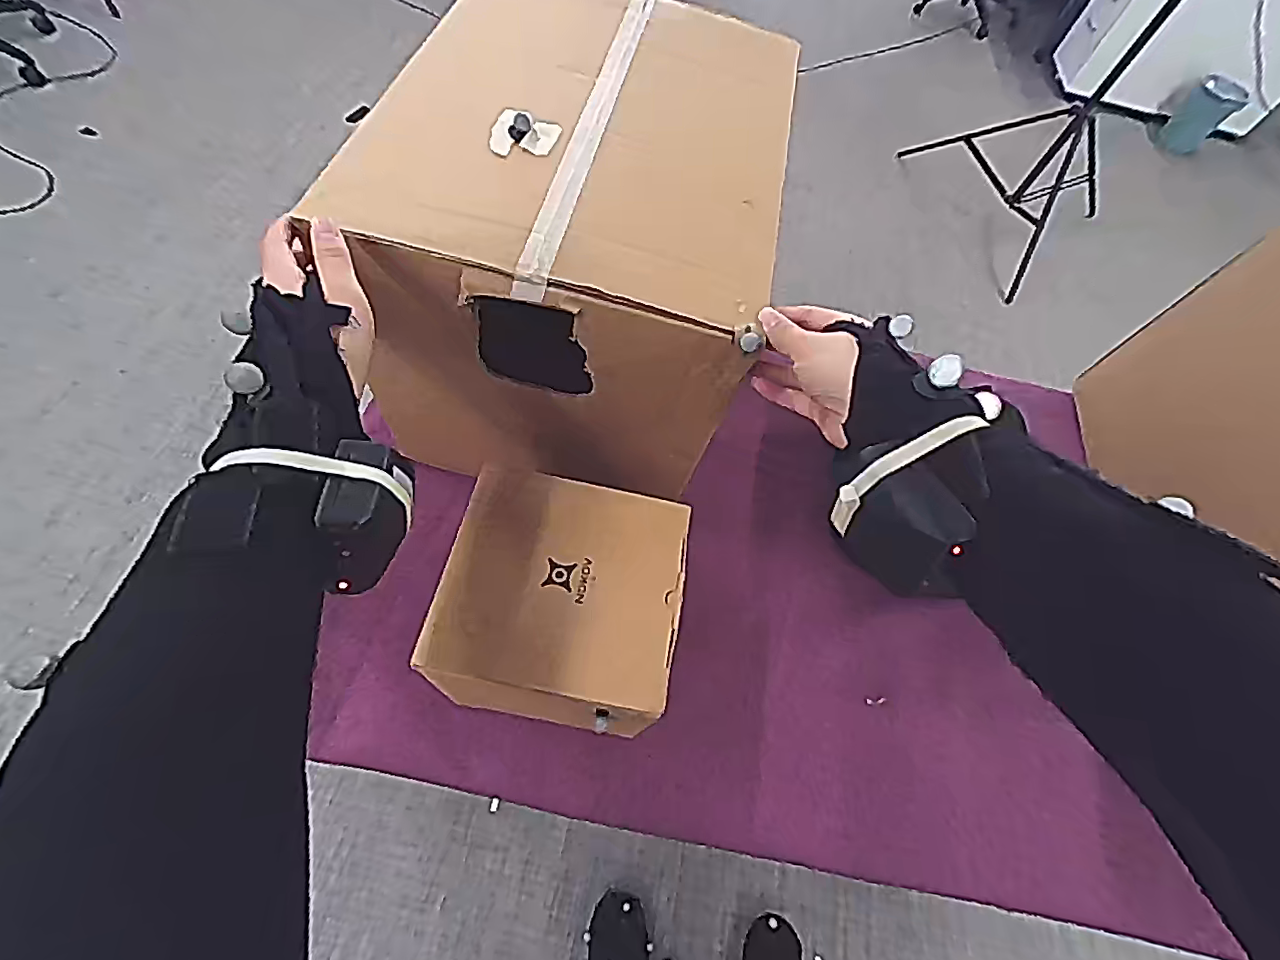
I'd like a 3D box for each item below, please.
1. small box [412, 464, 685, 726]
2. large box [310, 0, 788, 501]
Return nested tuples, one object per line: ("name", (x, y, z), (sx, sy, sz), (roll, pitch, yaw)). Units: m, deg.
("small box", (-0.069, 0.110, 0.476), (0.179, 0.176, 0.168), (12, 60, -3))
("large box", (-0.057, -0.222, 0.577), (0.320, 0.320, 0.408), (13, 63, -2))
